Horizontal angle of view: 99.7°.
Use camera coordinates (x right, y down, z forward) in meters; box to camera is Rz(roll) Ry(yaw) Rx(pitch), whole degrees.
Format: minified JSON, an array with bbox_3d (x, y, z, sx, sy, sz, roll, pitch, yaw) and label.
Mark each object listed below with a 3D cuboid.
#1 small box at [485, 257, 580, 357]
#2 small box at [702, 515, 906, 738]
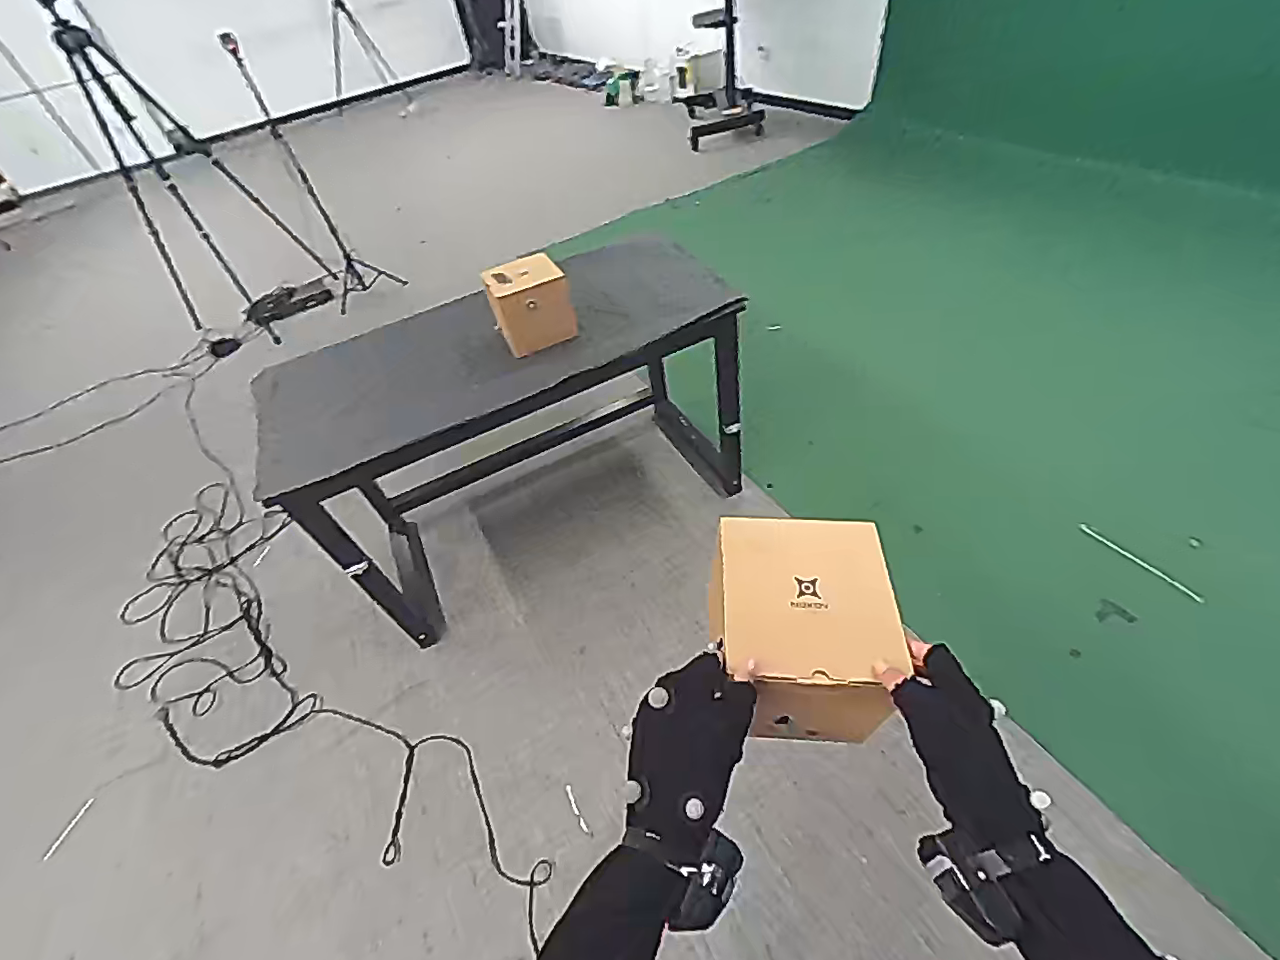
[{"bbox_3d":[-0.273,-0.442,1.390,0.179,0.176,0.168,-24,47,-12],"label":"small box"},{"bbox_3d":[0.155,0.159,0.586,0.168,0.176,0.179,1,50,3],"label":"small box"}]
